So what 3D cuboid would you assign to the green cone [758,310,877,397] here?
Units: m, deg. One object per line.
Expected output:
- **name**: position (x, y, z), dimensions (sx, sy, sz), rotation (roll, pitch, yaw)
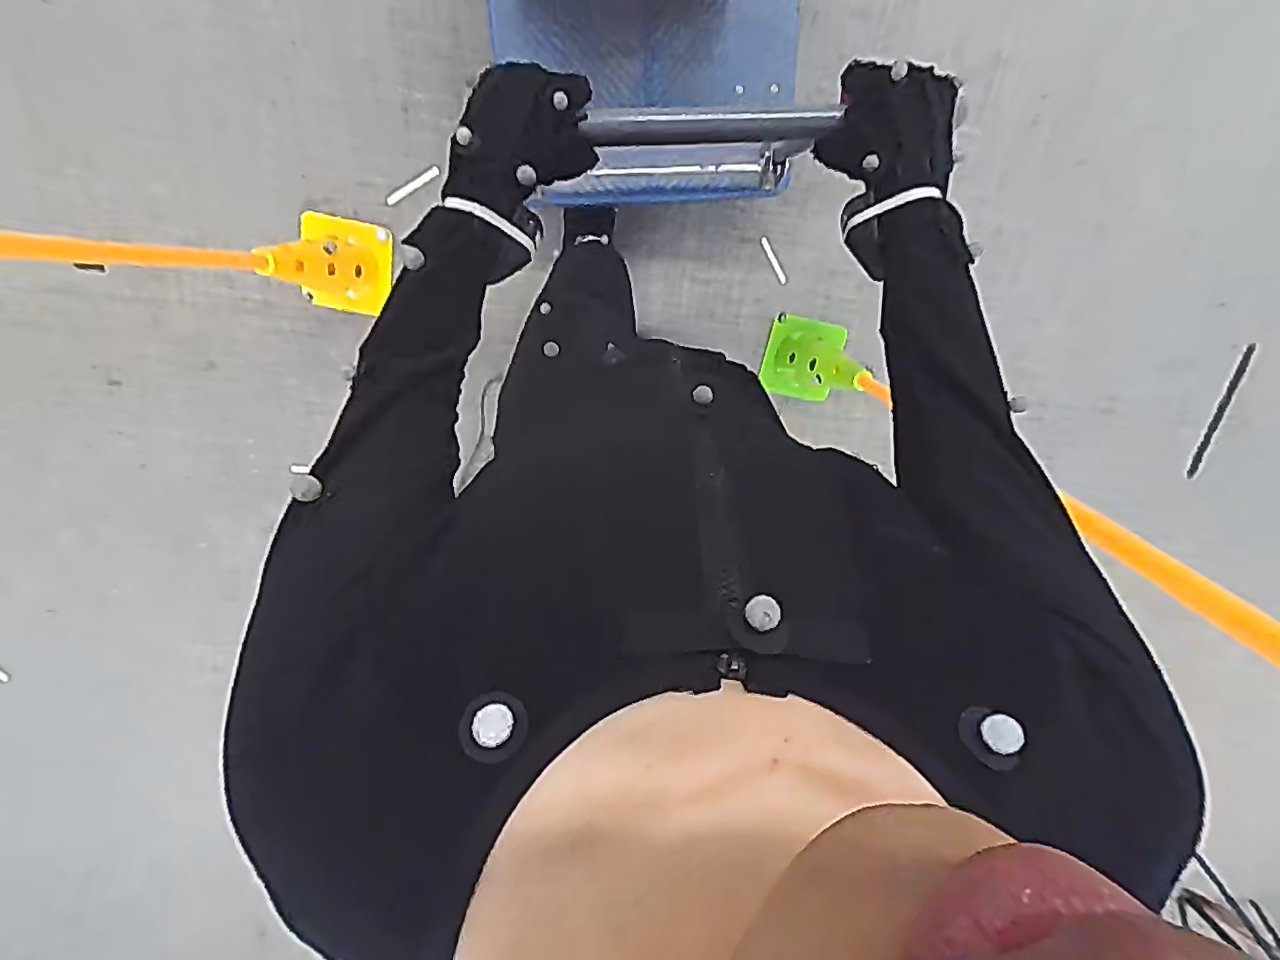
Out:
- **green cone**: position (0.437, -0.266, 1.250), dimensions (0.202, 0.368, 0.200), rotation (9, 110, -9)
